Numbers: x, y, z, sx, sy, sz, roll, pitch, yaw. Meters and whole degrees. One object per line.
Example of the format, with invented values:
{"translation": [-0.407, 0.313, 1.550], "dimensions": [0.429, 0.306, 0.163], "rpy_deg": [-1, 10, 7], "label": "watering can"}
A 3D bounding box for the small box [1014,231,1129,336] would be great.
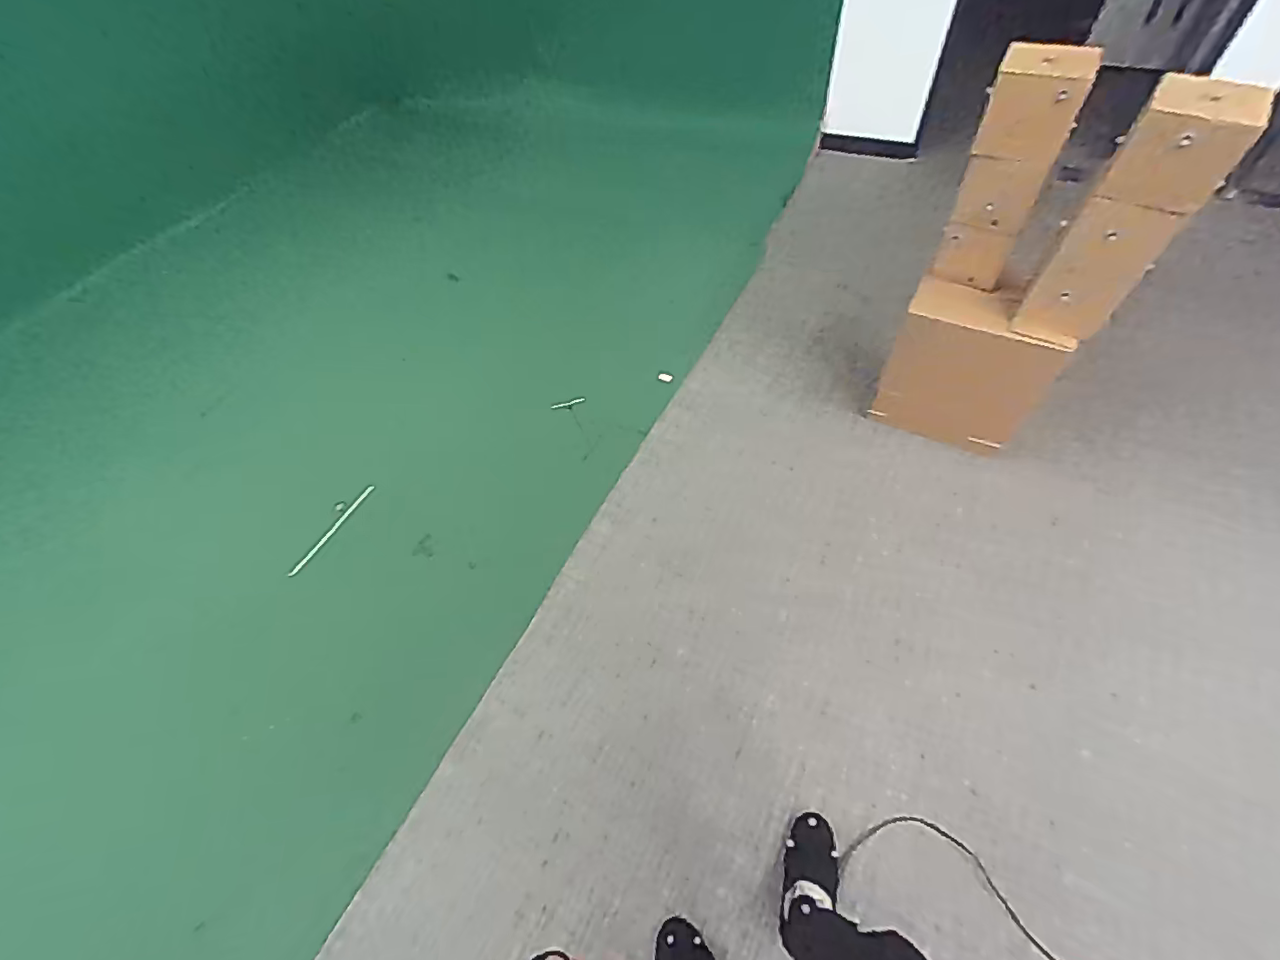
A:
{"translation": [1.074, -0.486, 1.346], "dimensions": [0.179, 0.176, 0.168], "rpy_deg": [24, 64, 22], "label": "small box"}

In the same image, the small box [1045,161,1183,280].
{"translation": [1.062, -0.576, 1.210], "dimensions": [0.179, 0.176, 0.168], "rpy_deg": [25, 63, 22], "label": "small box"}

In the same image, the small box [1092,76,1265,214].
{"translation": [1.052, -0.660, 1.071], "dimensions": [0.179, 0.176, 0.168], "rpy_deg": [29, 65, 22], "label": "small box"}
